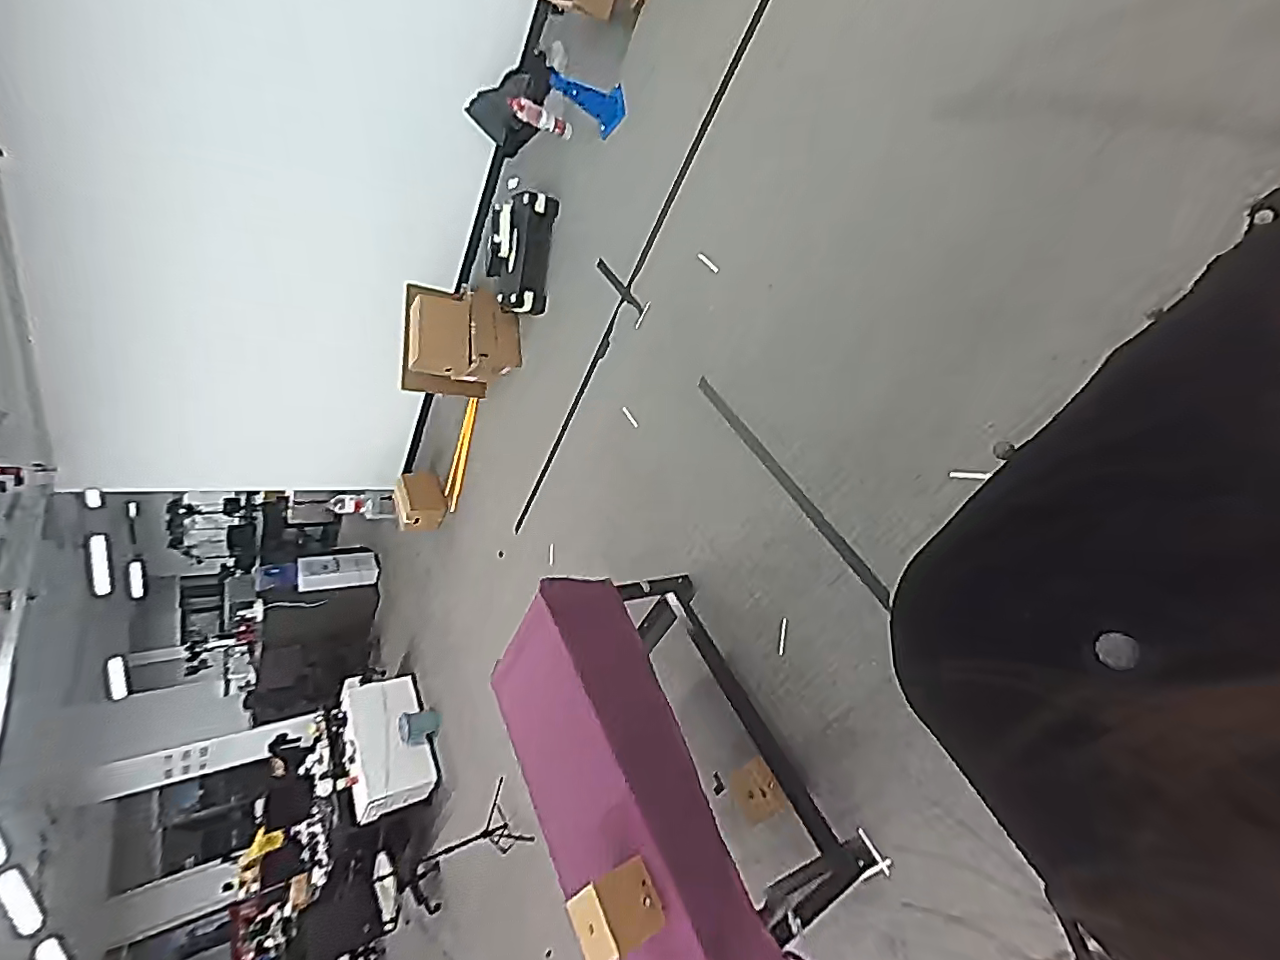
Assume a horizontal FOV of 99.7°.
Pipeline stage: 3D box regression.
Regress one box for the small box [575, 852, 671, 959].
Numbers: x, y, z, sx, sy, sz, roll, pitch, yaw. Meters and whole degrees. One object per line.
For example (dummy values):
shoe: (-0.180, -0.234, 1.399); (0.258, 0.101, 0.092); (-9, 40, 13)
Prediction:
small box: (-0.045, 1.142, 1.448); (0.168, 0.176, 0.179); (57, 131, 33)
